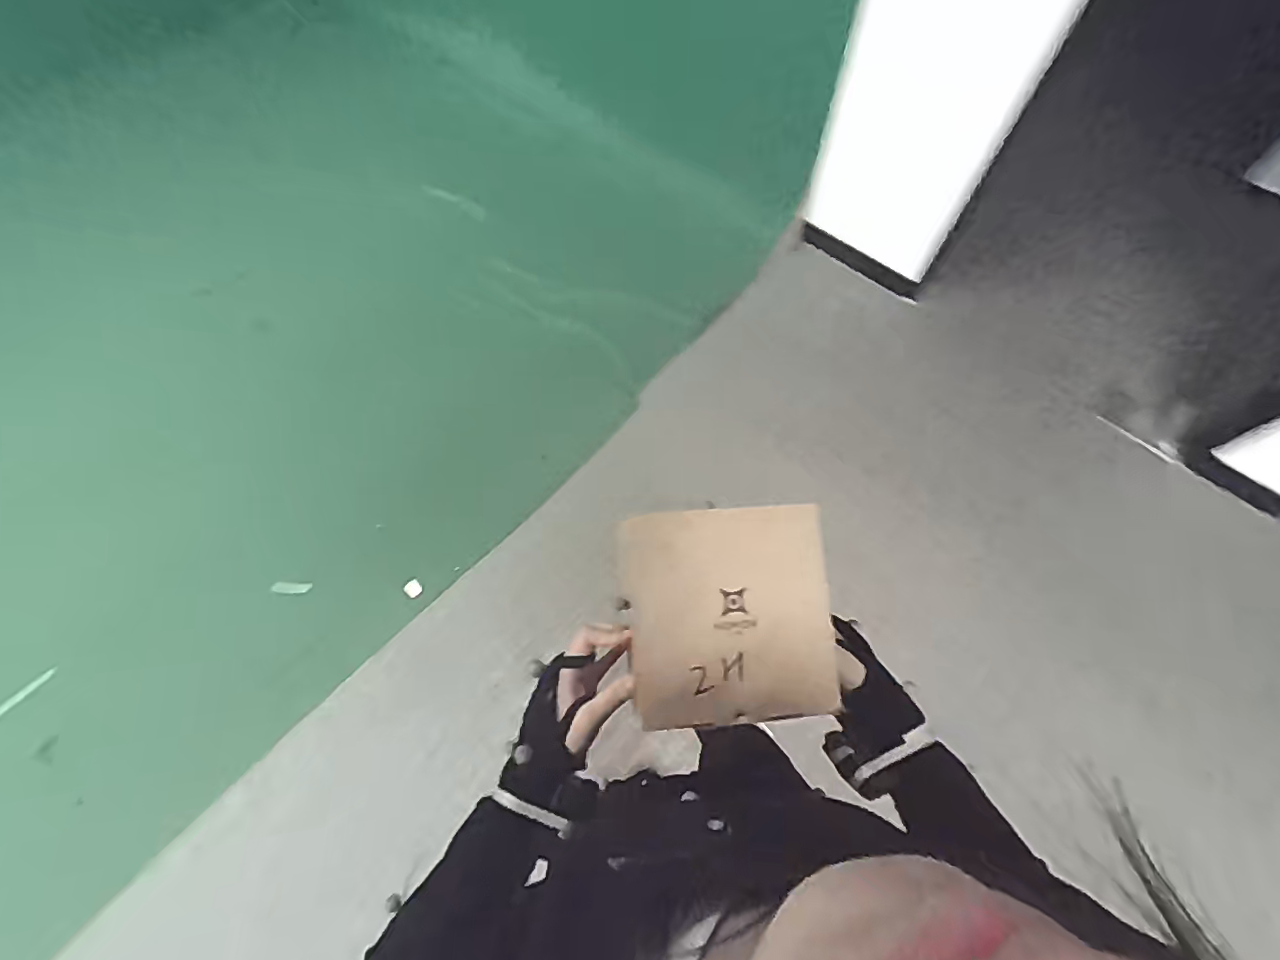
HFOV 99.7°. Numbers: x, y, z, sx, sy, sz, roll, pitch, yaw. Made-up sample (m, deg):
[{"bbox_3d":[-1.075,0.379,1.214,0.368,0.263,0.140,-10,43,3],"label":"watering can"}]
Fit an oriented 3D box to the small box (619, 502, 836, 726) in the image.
[{"bbox_3d":[0.069,0.122,0.530,0.168,0.176,0.179,-3,81,-6],"label":"small box"}]
